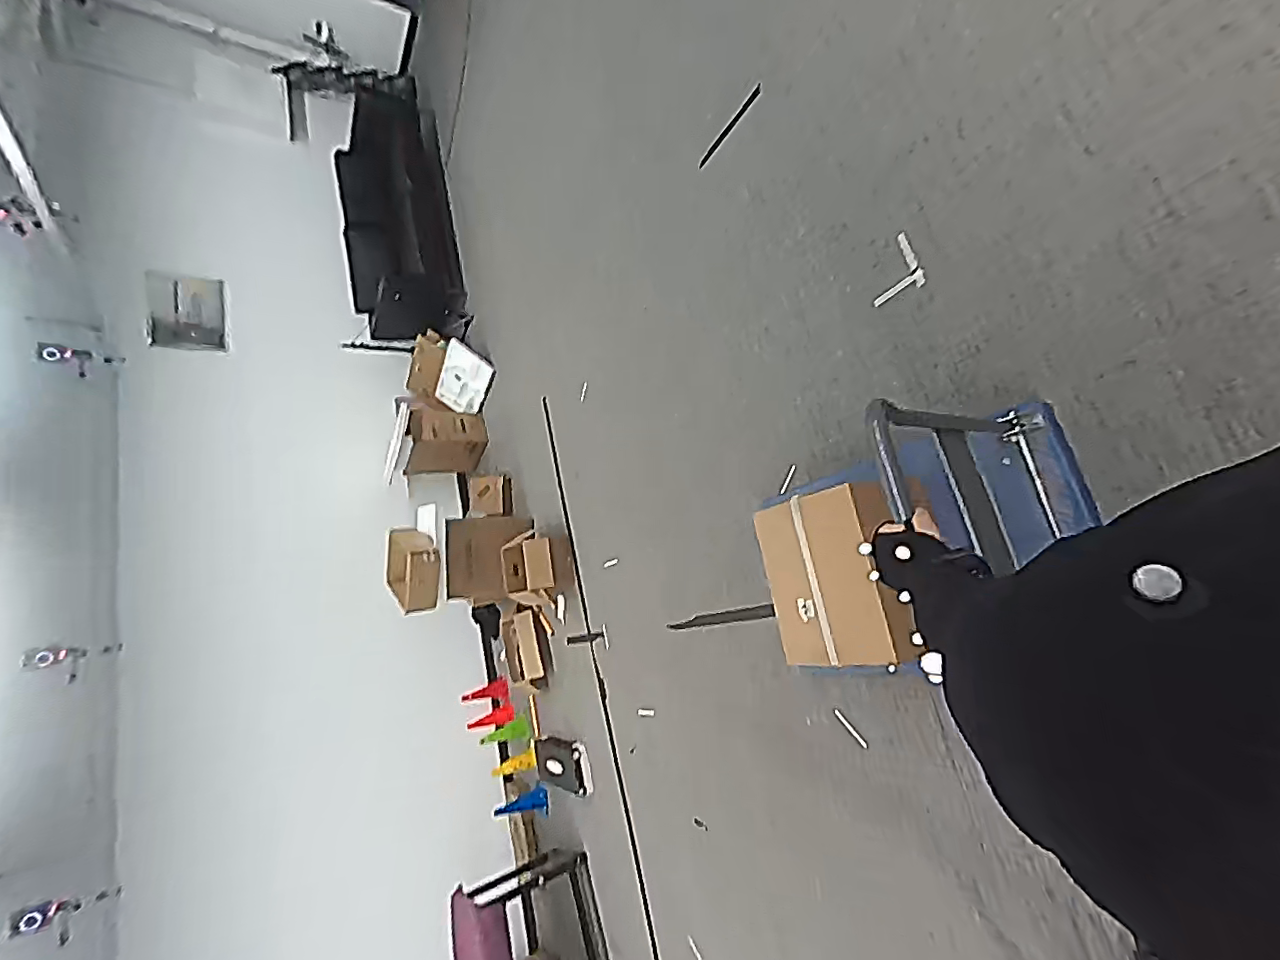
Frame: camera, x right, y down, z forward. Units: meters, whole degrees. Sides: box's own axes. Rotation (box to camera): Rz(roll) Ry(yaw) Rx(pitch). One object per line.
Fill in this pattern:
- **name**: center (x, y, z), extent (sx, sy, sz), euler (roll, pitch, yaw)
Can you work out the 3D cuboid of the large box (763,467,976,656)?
- **large box**: center (0.573, 0.205, 1.377), extent (0.320, 0.320, 0.408), euler (-28, 71, 55)
